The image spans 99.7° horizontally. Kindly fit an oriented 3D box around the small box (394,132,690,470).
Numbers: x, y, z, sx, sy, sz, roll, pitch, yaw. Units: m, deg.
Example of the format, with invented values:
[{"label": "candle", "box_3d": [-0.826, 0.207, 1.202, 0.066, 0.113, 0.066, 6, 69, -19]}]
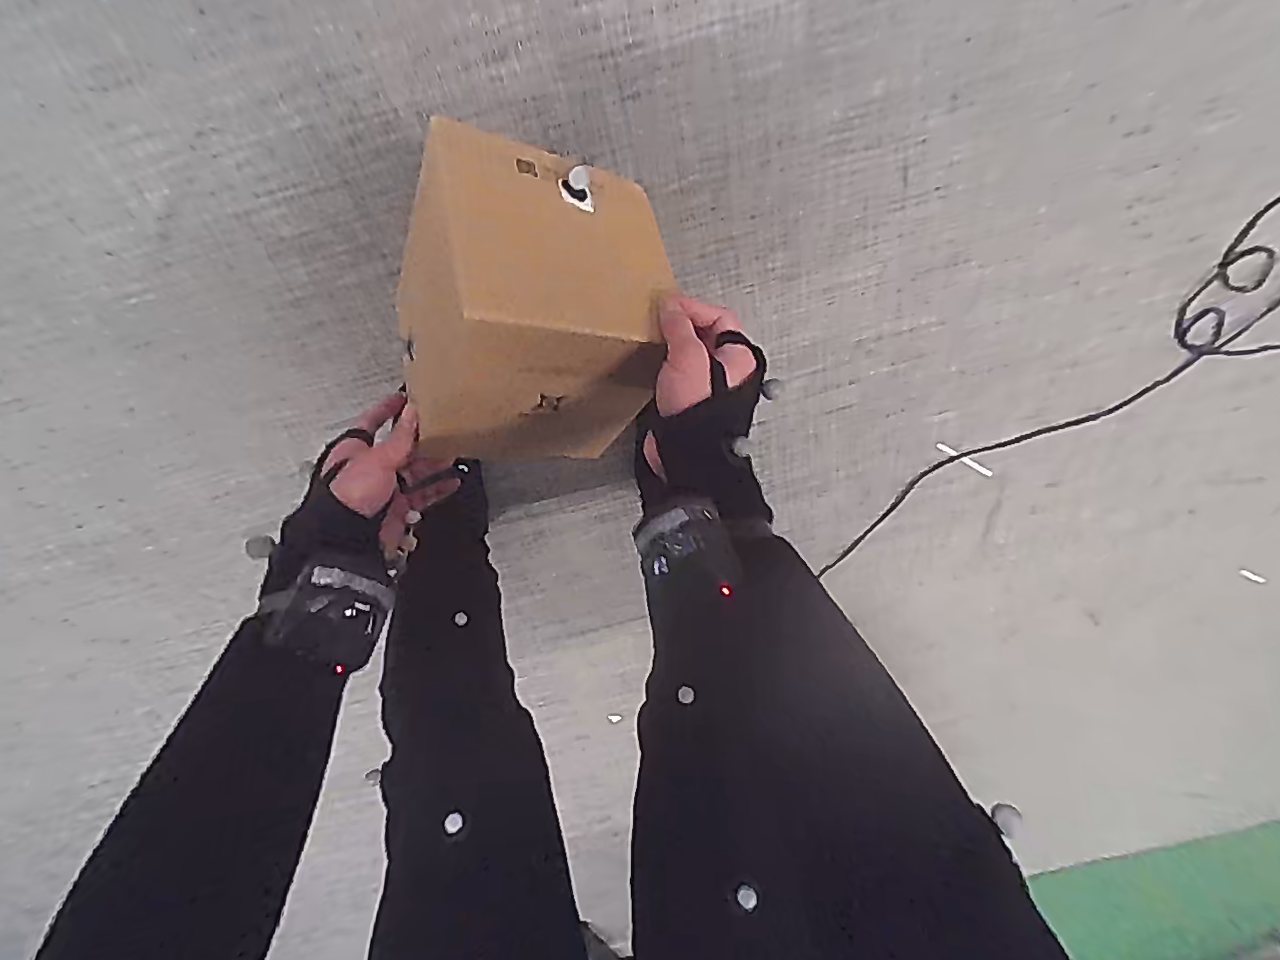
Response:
[{"label": "small box", "box_3d": [-0.091, -0.121, 0.428, 0.168, 0.176, 0.179, -3, 156, -33]}]
